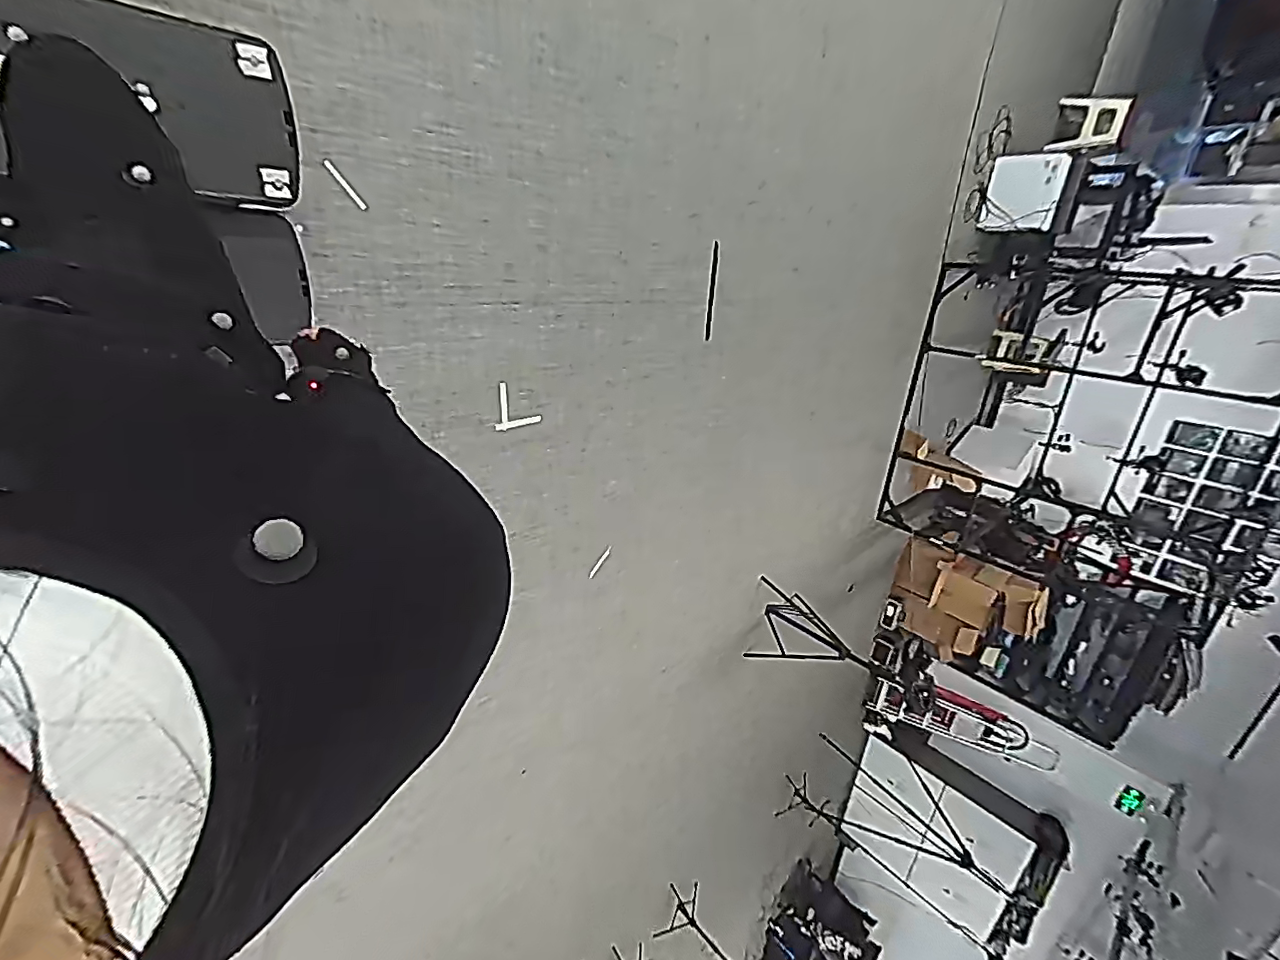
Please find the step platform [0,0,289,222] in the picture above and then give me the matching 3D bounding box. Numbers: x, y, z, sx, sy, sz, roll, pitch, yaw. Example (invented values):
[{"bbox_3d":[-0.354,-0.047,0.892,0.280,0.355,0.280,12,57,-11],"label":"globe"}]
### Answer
[{"bbox_3d":[-0.989,-0.607,0.892,0.684,0.204,0.286,-18,122,-41],"label":"step platform"}]
